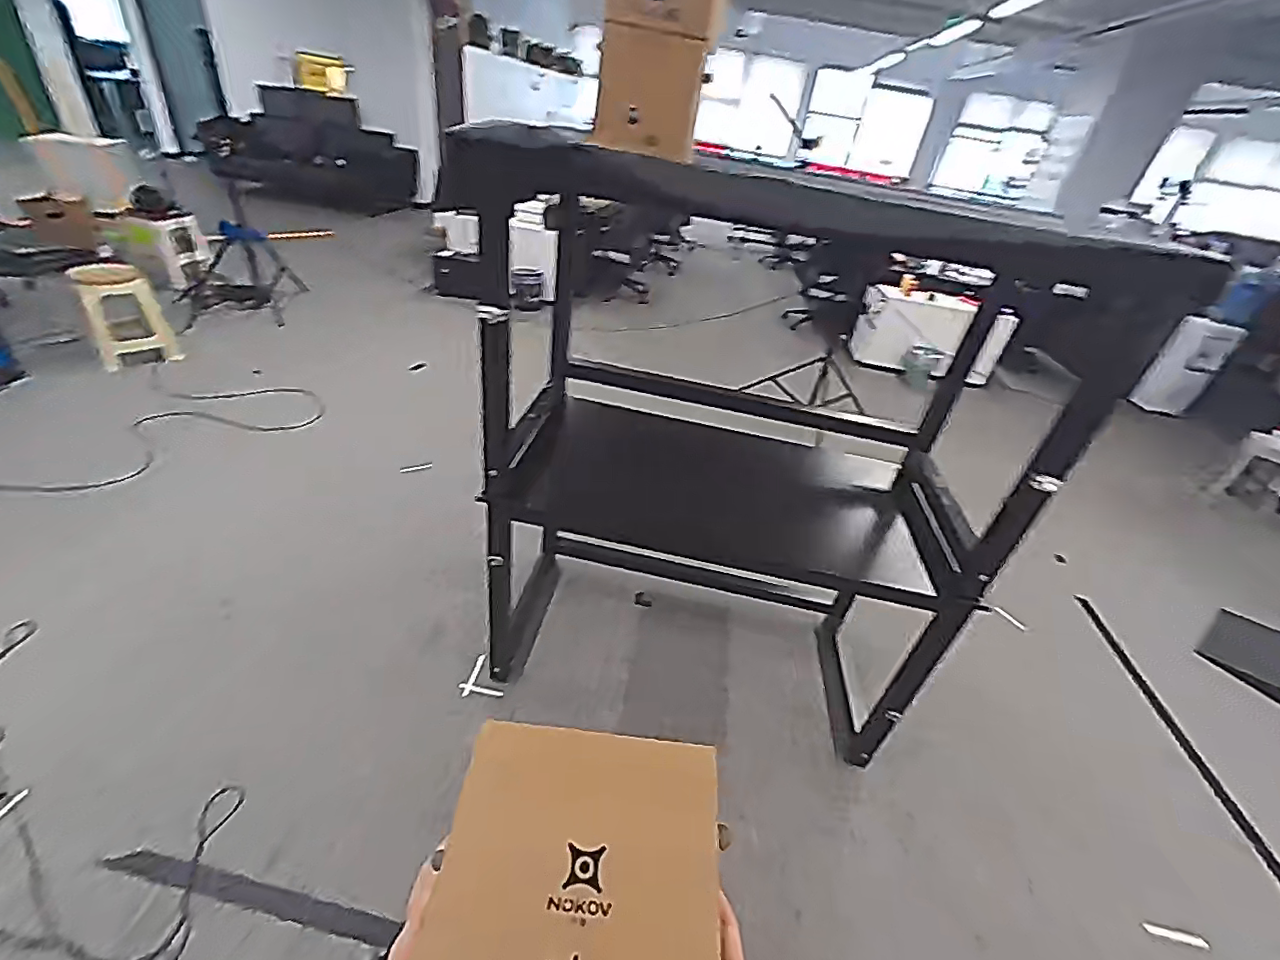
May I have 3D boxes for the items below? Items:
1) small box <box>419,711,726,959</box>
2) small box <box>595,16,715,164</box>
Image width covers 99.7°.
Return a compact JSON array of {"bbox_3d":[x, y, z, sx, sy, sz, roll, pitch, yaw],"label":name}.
[{"bbox_3d":[-0.039,0.287,0.370,0.168,0.176,0.179,7,44,0],"label":"small box"},{"bbox_3d":[0.025,-0.647,0.916,0.168,0.176,0.179,12,33,2],"label":"small box"}]
